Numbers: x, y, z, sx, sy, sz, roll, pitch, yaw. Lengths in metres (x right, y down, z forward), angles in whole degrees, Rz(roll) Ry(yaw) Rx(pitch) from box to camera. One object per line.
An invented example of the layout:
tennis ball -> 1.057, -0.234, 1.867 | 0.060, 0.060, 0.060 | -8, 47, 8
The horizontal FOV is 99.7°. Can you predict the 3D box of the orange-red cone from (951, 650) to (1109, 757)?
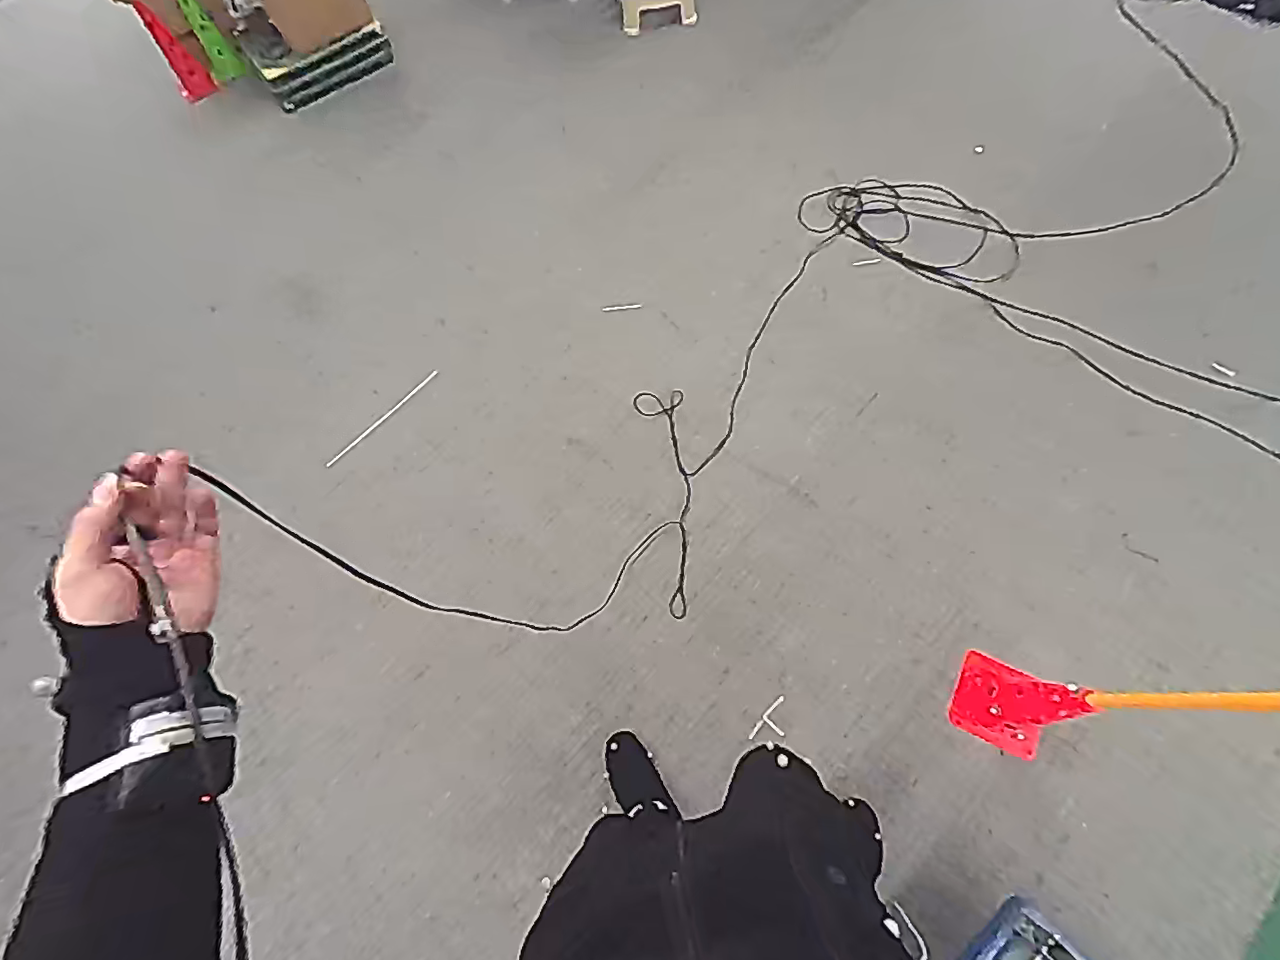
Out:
orange-red cone -> 0.875, 0.478, 1.176 | 0.198, 0.360, 0.199 | 26, 71, 15
